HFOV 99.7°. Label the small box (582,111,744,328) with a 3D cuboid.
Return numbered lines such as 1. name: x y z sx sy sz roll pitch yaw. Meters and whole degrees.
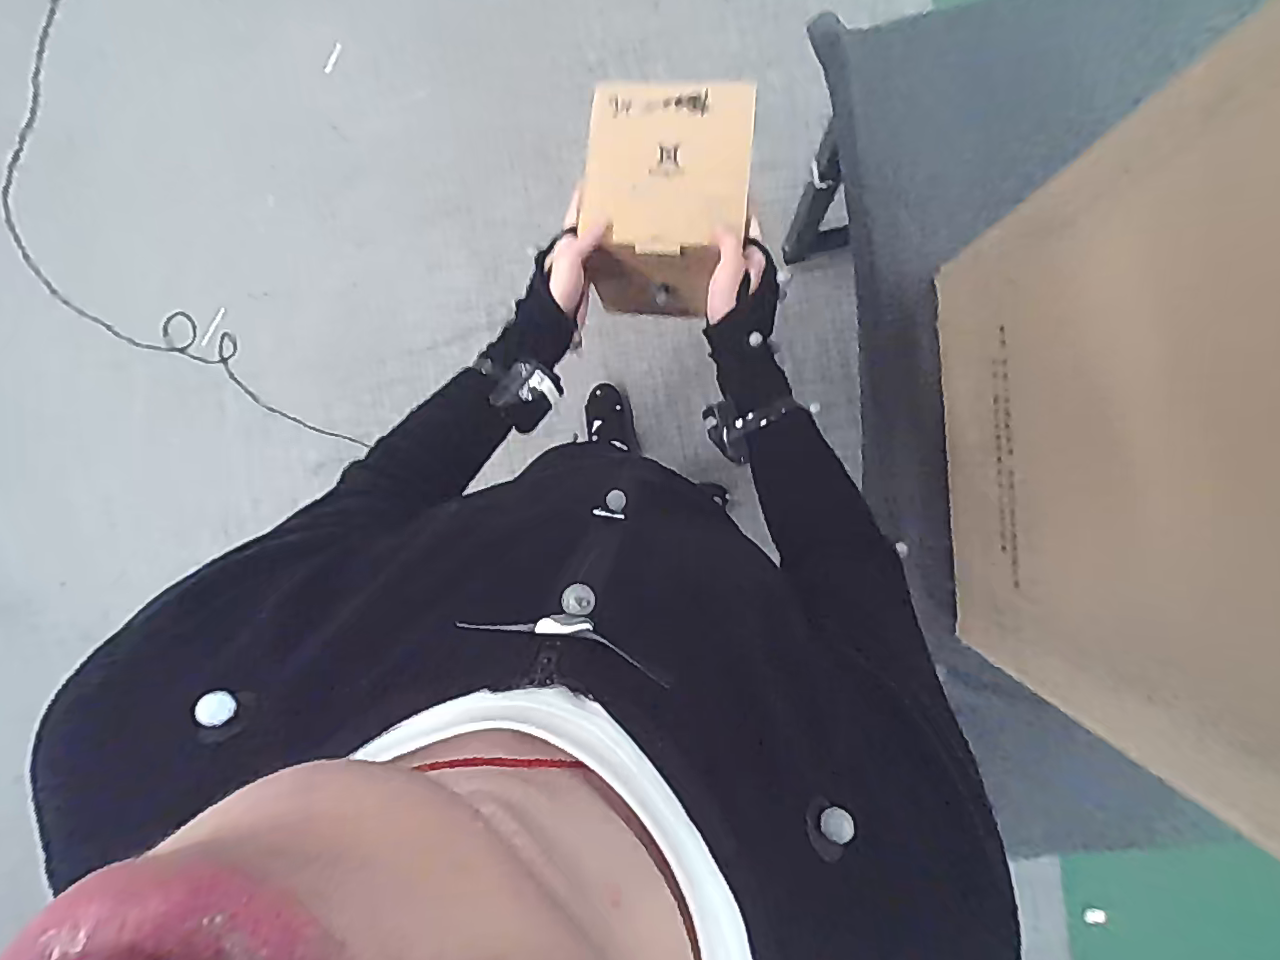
1. small box: 0.034 -0.291 0.641 0.168 0.176 0.179 2 83 7
